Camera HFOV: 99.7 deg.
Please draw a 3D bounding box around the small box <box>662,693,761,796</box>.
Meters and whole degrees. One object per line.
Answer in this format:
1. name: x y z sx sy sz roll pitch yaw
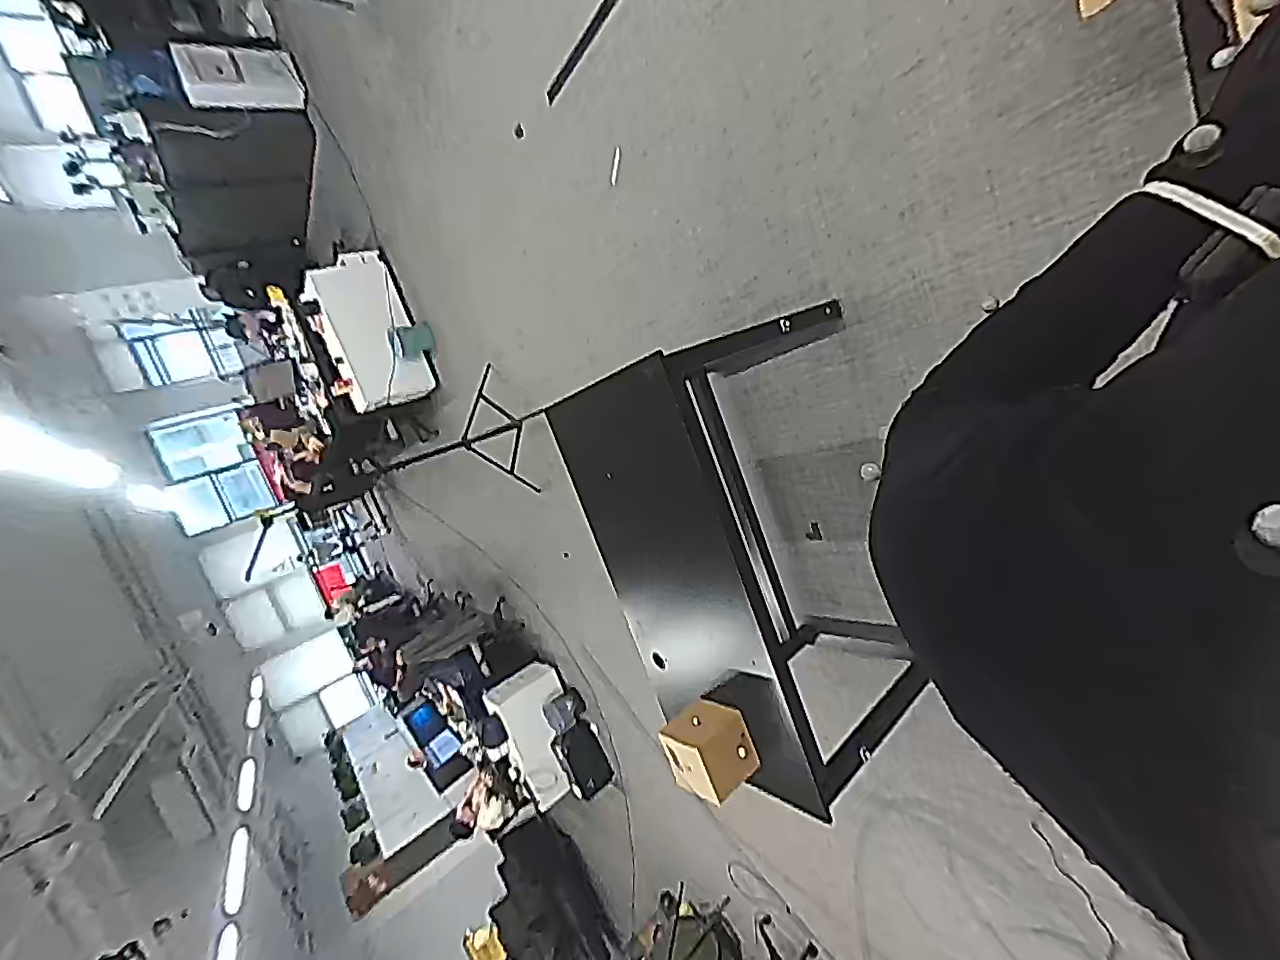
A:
1. small box: 0.195 0.710 1.476 0.179 0.176 0.168 -14 100 55
